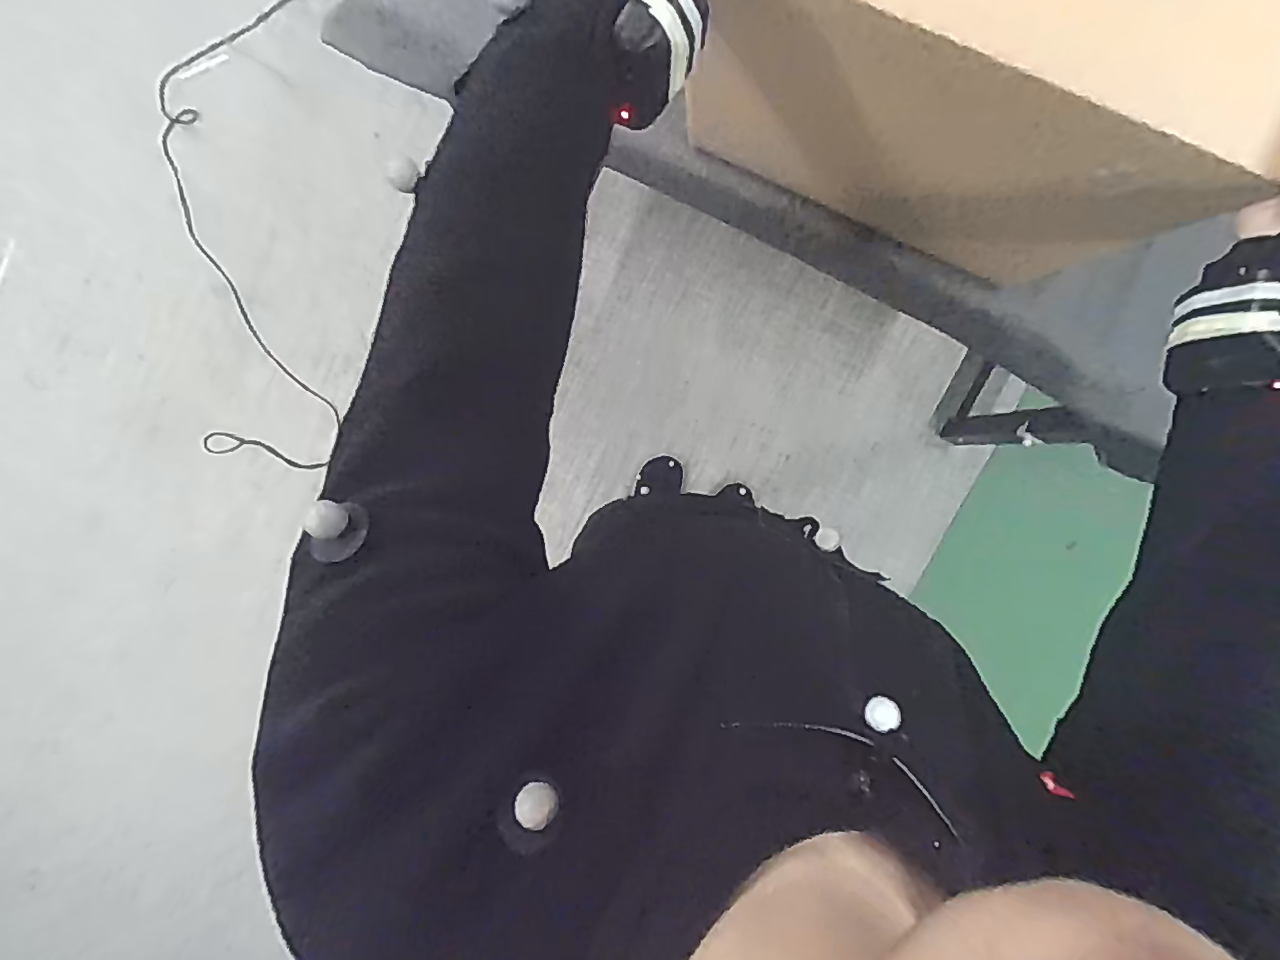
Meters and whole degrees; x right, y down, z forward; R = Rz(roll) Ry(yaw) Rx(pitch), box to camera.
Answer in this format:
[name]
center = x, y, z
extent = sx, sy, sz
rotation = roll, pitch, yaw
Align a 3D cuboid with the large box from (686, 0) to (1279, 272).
[large box]
center = 0.277, -0.423, 0.444
extent = 0.408, 0.320, 0.320
rotation = 25, 102, 1
